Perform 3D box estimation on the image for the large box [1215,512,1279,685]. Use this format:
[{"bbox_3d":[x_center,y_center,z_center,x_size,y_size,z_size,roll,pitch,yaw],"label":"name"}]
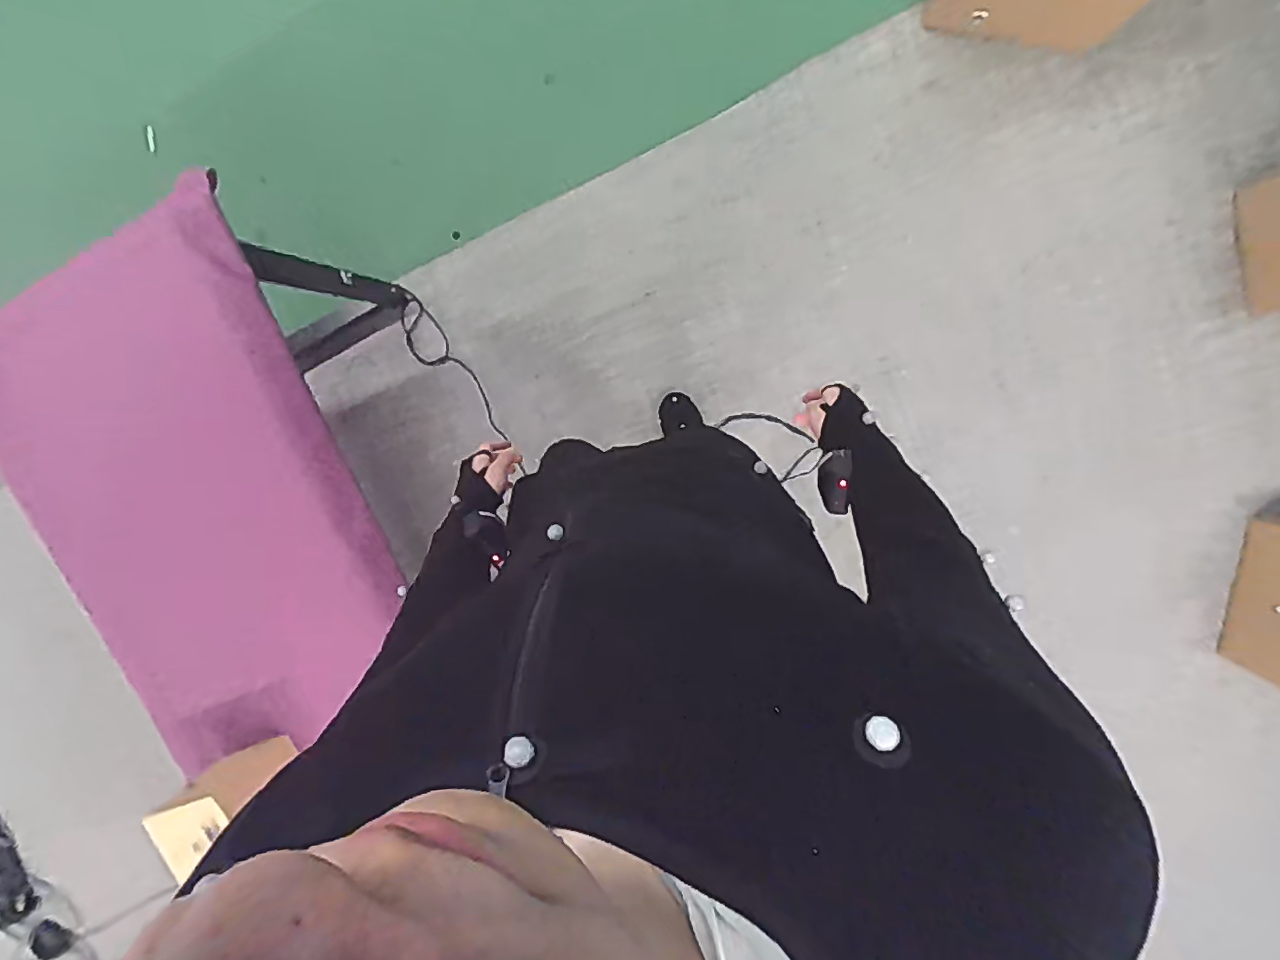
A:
[{"bbox_3d":[1.740,0.311,1.324,0.320,0.320,0.408,2,100,6],"label":"large box"}]
